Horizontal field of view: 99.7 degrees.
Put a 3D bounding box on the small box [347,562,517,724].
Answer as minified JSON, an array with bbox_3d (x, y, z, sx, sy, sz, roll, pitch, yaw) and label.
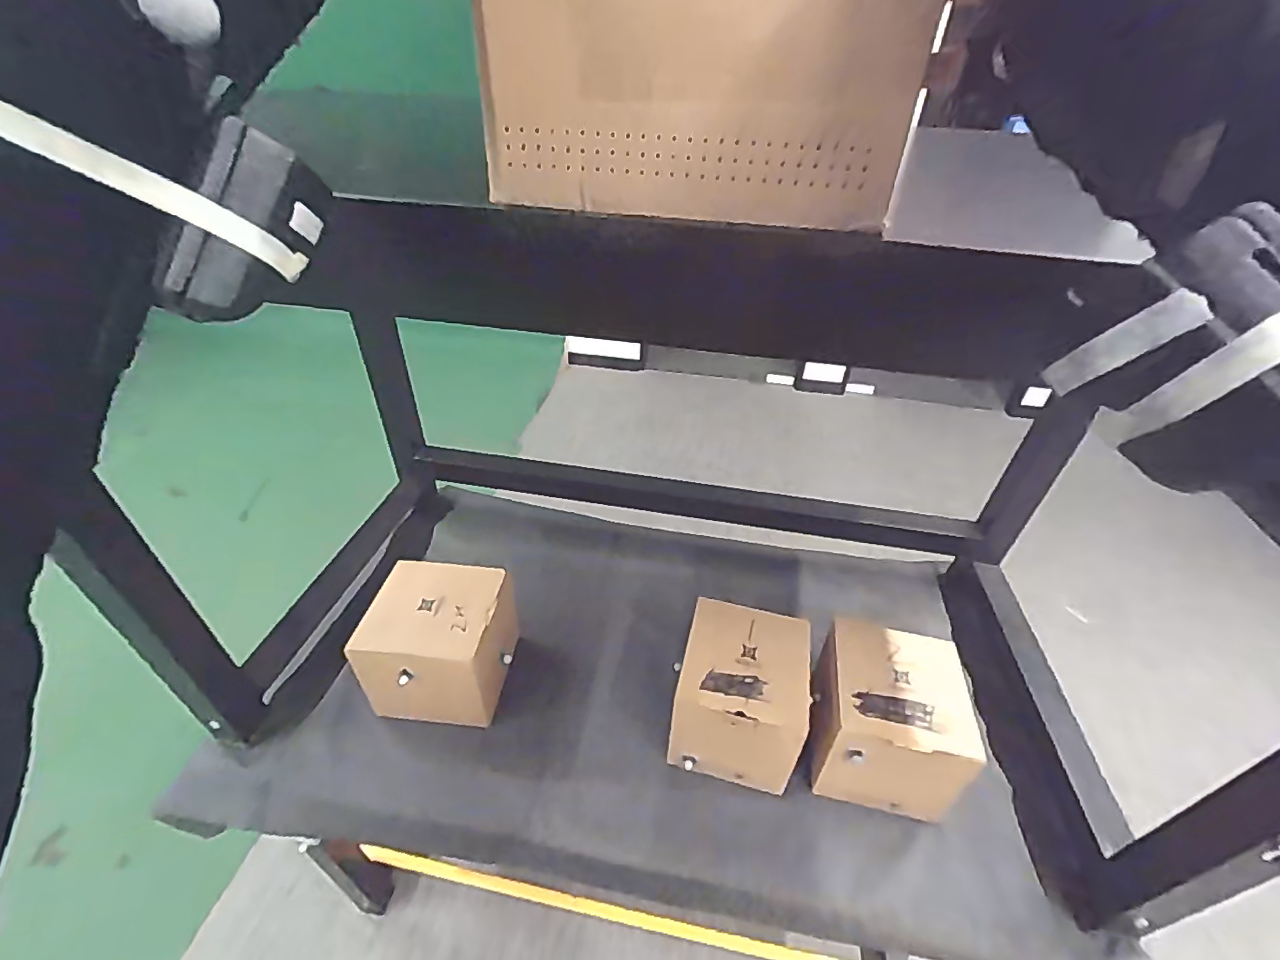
[{"bbox_3d":[-0.300,0.248,0.822,0.179,0.176,0.168,6,38,3],"label":"small box"}]
